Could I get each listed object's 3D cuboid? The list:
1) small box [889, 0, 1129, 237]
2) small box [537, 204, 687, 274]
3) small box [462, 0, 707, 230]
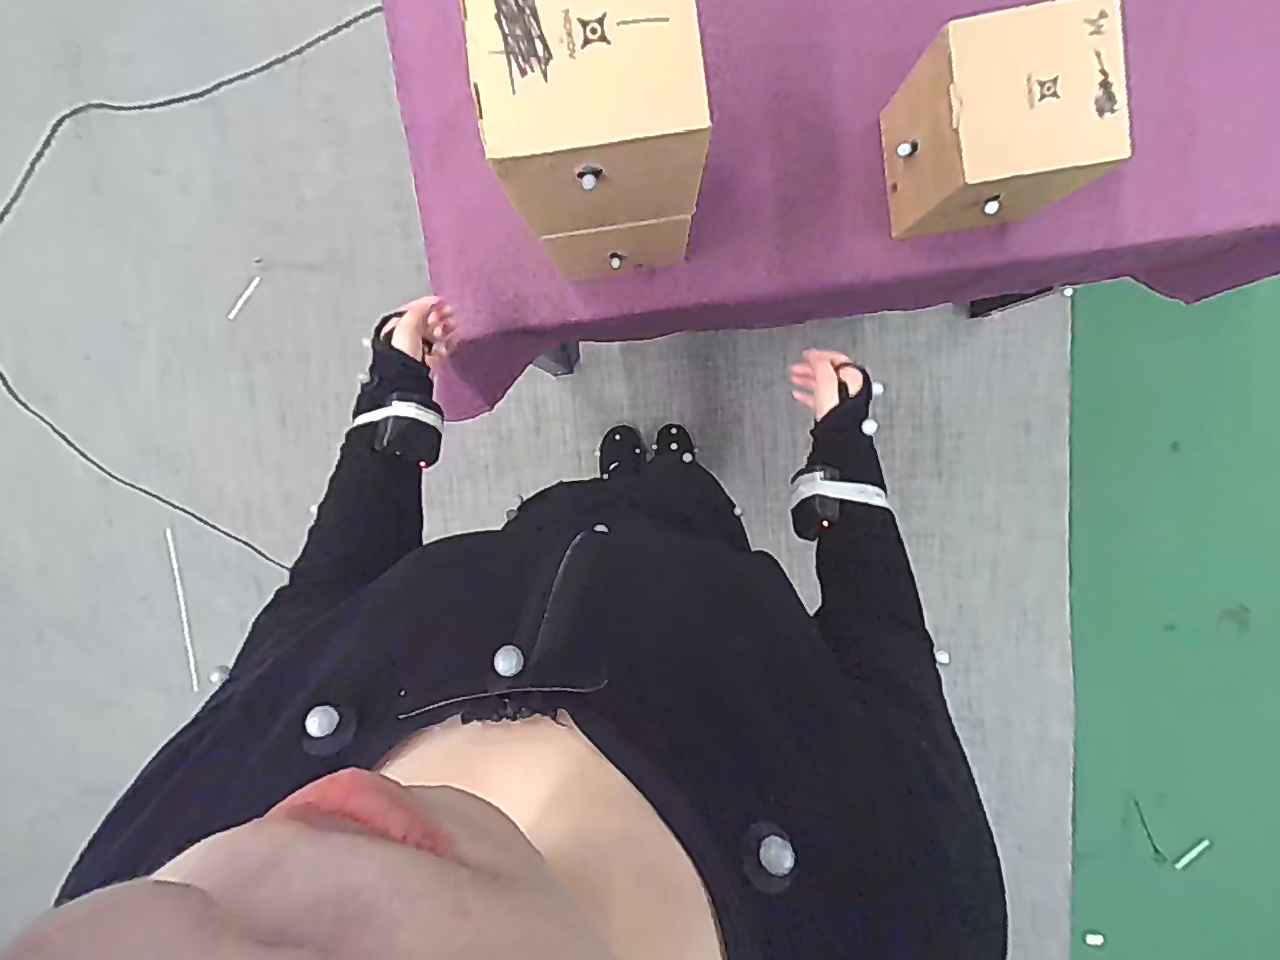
[{"bbox_3d":[0.409,-0.404,0.633,0.179,0.176,0.168,-8,95,3],"label":"small box"},{"bbox_3d":[-0.036,-0.360,0.648,0.168,0.176,0.179,-7,94,1],"label":"small box"},{"bbox_3d":[-0.041,-0.343,0.485,0.179,0.176,0.168,-7,95,1],"label":"small box"}]
